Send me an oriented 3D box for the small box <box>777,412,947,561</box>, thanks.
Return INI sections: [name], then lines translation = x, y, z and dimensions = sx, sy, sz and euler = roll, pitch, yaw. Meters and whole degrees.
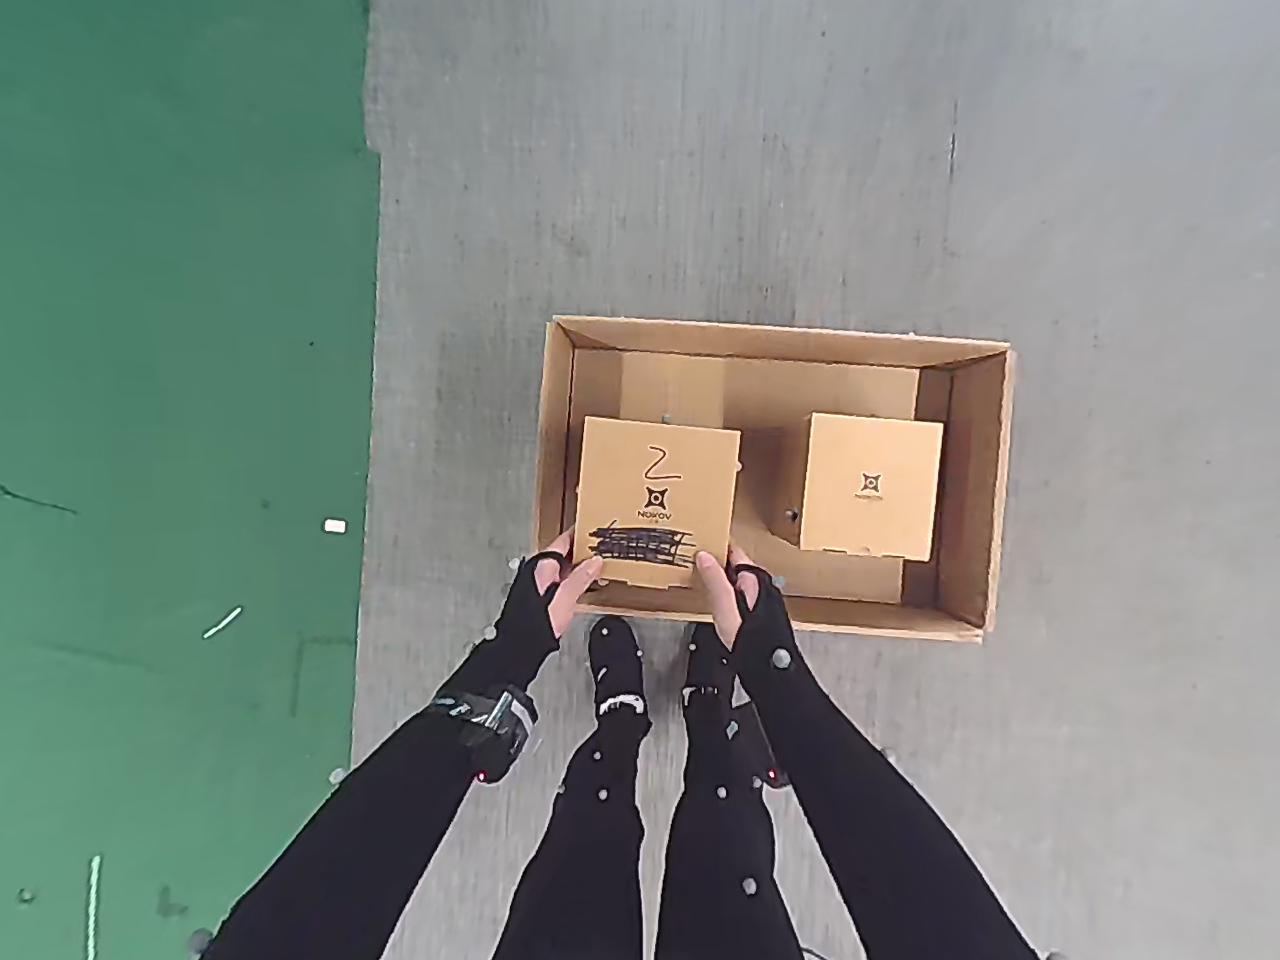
[small box]
translation = 0.296, 0.007, 0.754
dimensions = 0.168, 0.176, 0.179
euler = 5, 91, 2
